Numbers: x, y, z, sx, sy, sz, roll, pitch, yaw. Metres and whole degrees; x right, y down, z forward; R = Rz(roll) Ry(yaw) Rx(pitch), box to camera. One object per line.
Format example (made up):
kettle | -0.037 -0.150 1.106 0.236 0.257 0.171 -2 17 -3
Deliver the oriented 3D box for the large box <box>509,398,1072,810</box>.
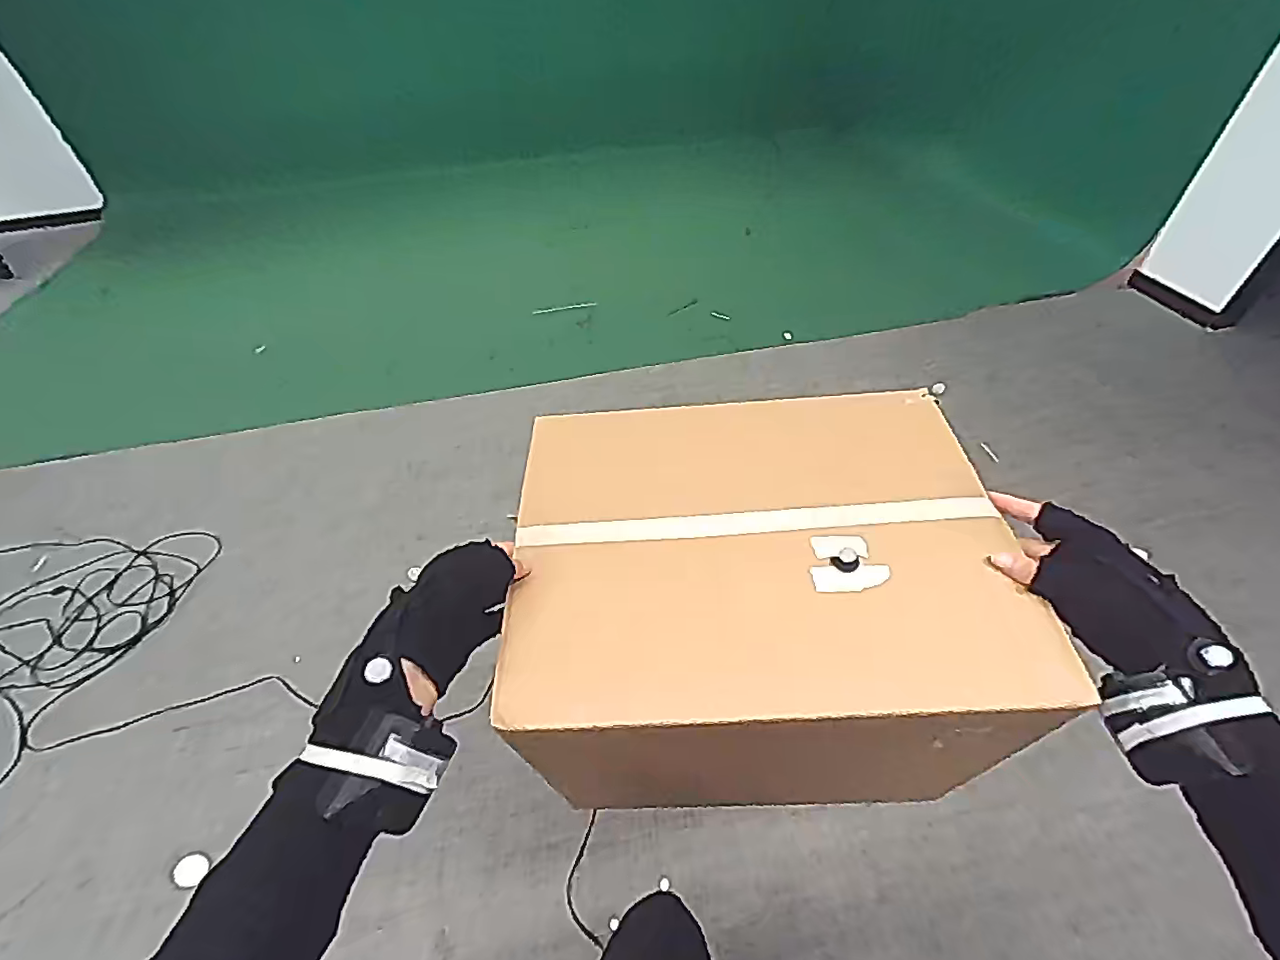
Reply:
large box | 0.108 0.142 0.585 0.408 0.320 0.320 -4 50 3
